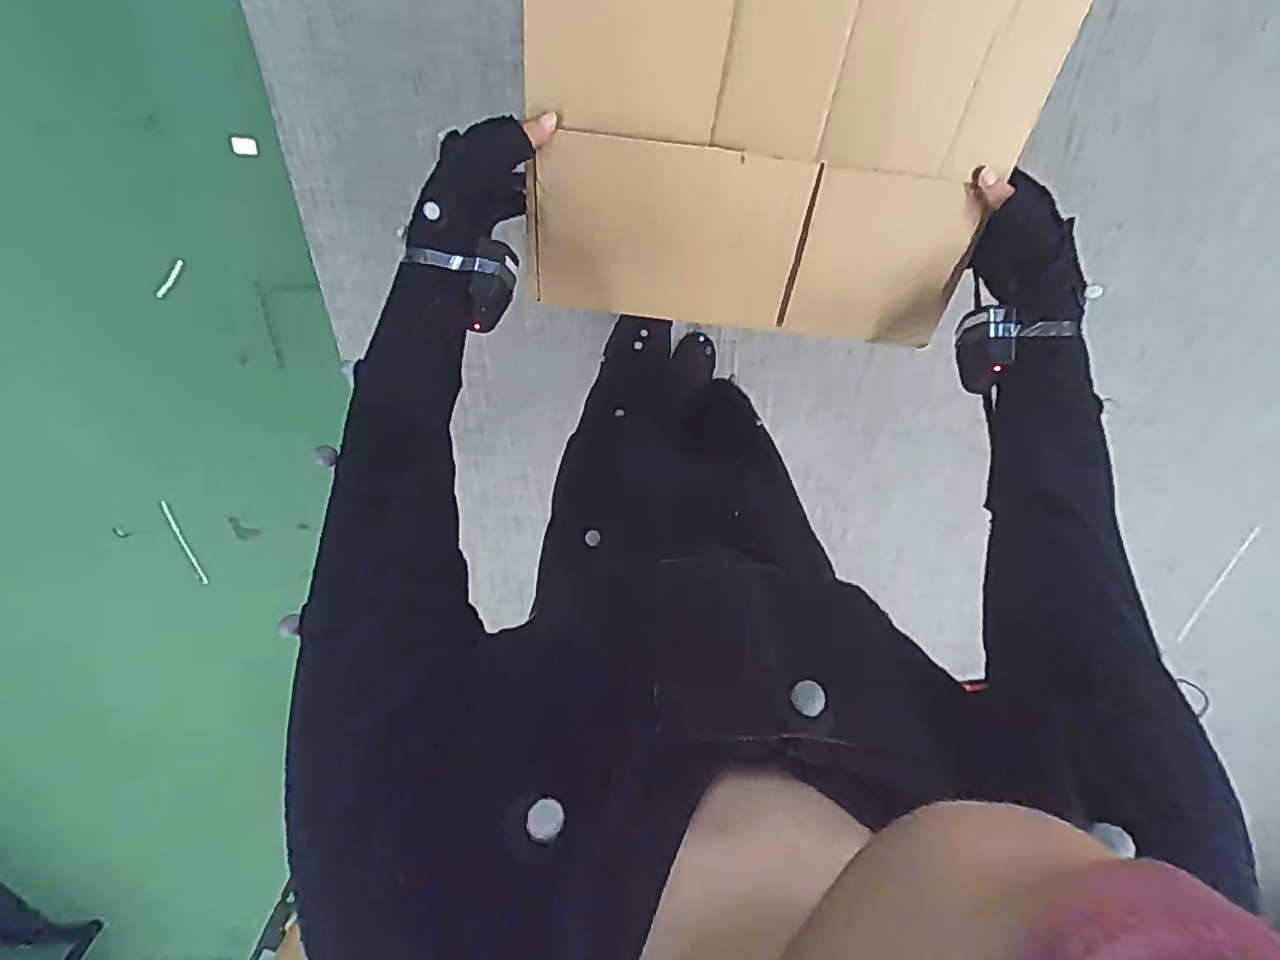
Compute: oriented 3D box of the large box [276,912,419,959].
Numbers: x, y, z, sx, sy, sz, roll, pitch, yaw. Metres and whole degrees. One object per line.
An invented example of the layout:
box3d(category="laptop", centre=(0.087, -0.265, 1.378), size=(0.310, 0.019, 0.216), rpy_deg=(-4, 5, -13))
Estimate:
box3d(category="large box", centre=(-1.001, 1.669, 1.749), size=(0.408, 0.320, 0.320), rpy_deg=(28, 123, -14))
